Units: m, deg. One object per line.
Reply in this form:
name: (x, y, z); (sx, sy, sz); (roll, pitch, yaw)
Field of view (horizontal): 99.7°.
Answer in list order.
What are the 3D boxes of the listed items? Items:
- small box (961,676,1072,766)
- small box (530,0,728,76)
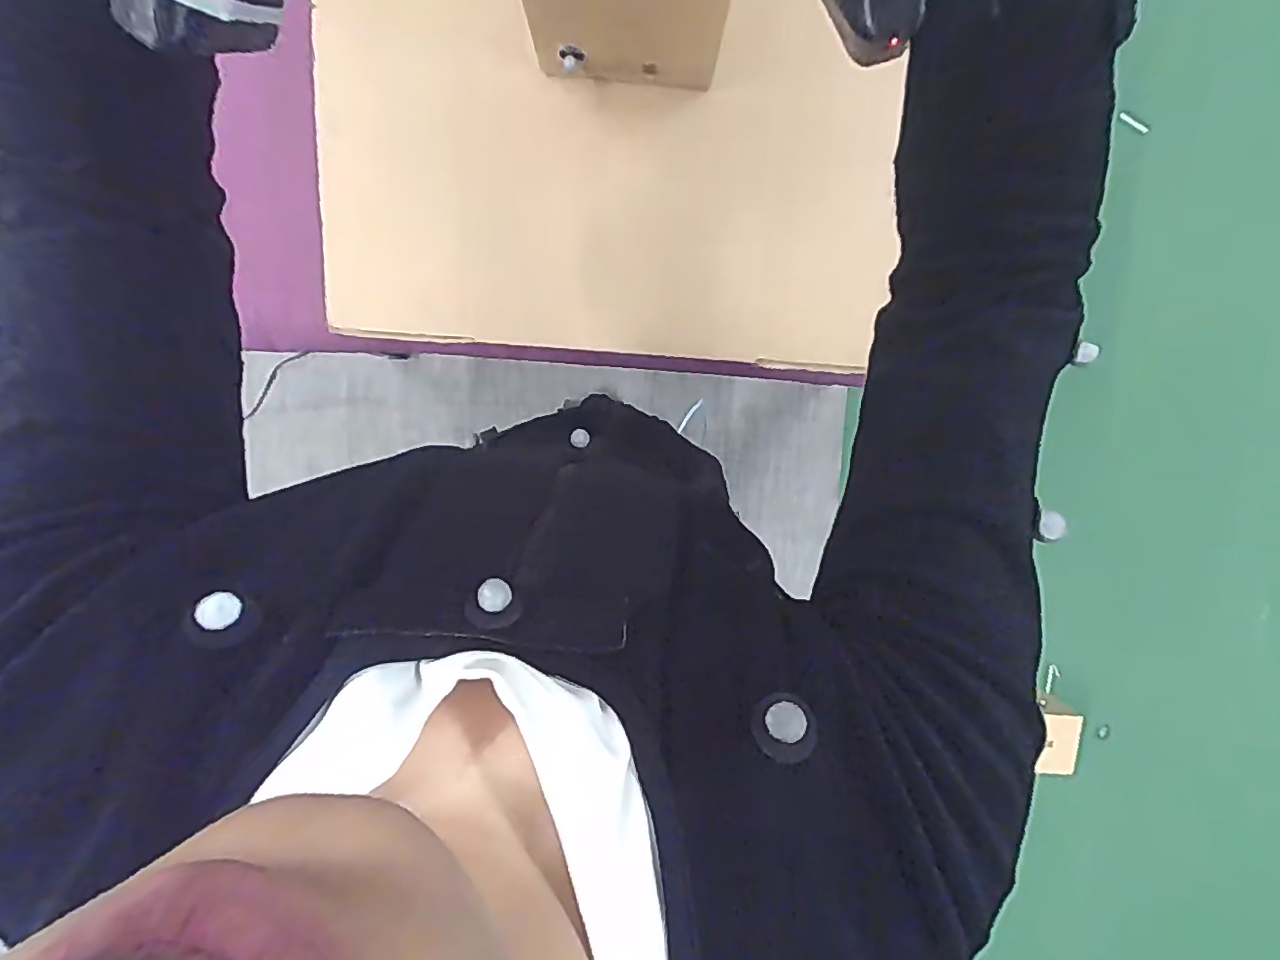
small box: (1.039, 0.664, 1.503); (0.179, 0.176, 0.168); (5, 98, -1)
small box: (-0.003, -0.461, 0.423); (0.168, 0.176, 0.179); (5, 96, -1)
